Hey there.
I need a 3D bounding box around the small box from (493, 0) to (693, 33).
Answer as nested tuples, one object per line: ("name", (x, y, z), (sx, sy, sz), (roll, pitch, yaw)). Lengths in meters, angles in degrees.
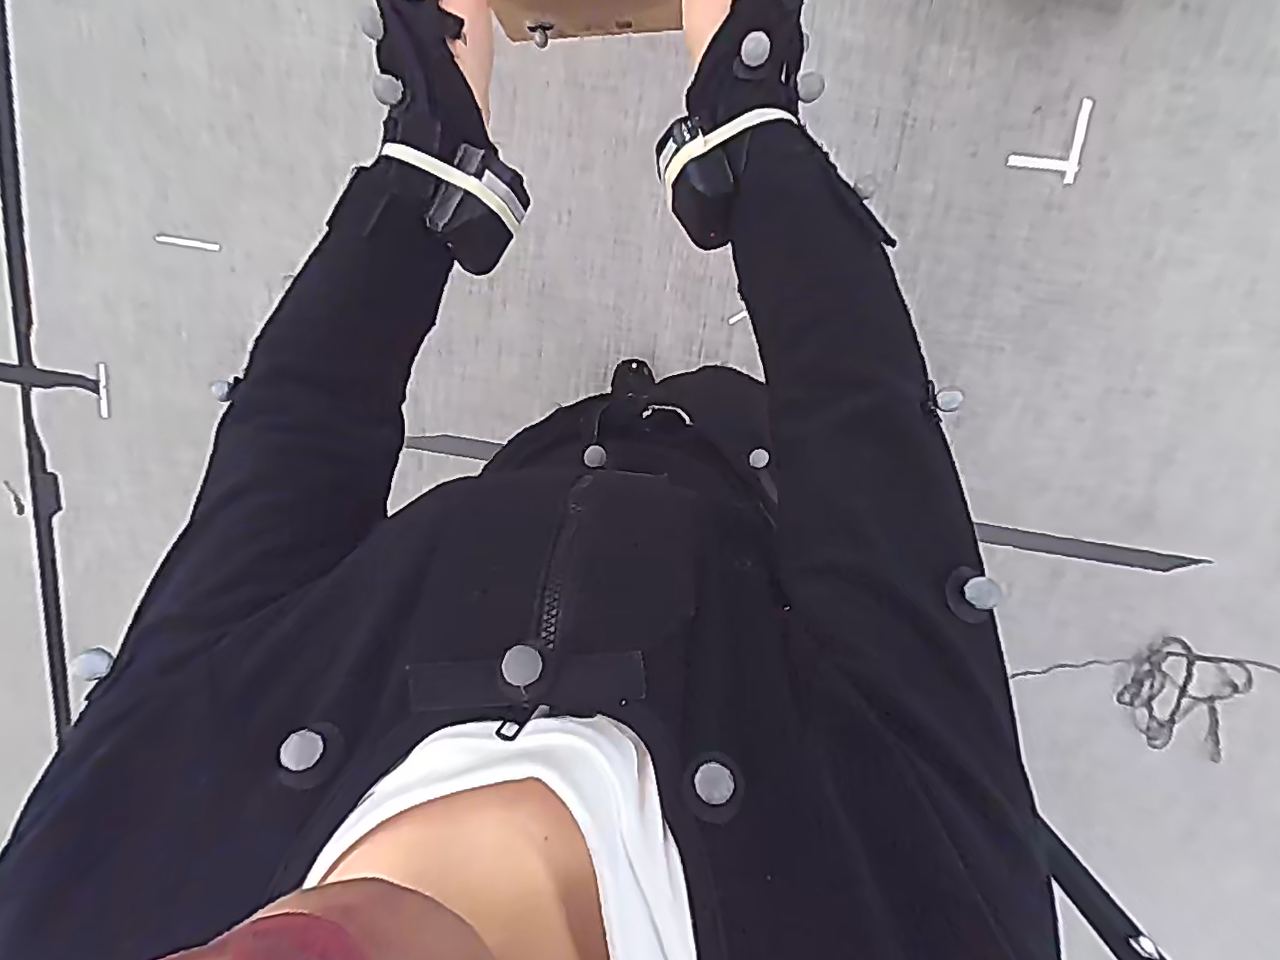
("small box", (-0.040, -0.446, 0.377), (0.168, 0.176, 0.179), (-3, 110, 1))
